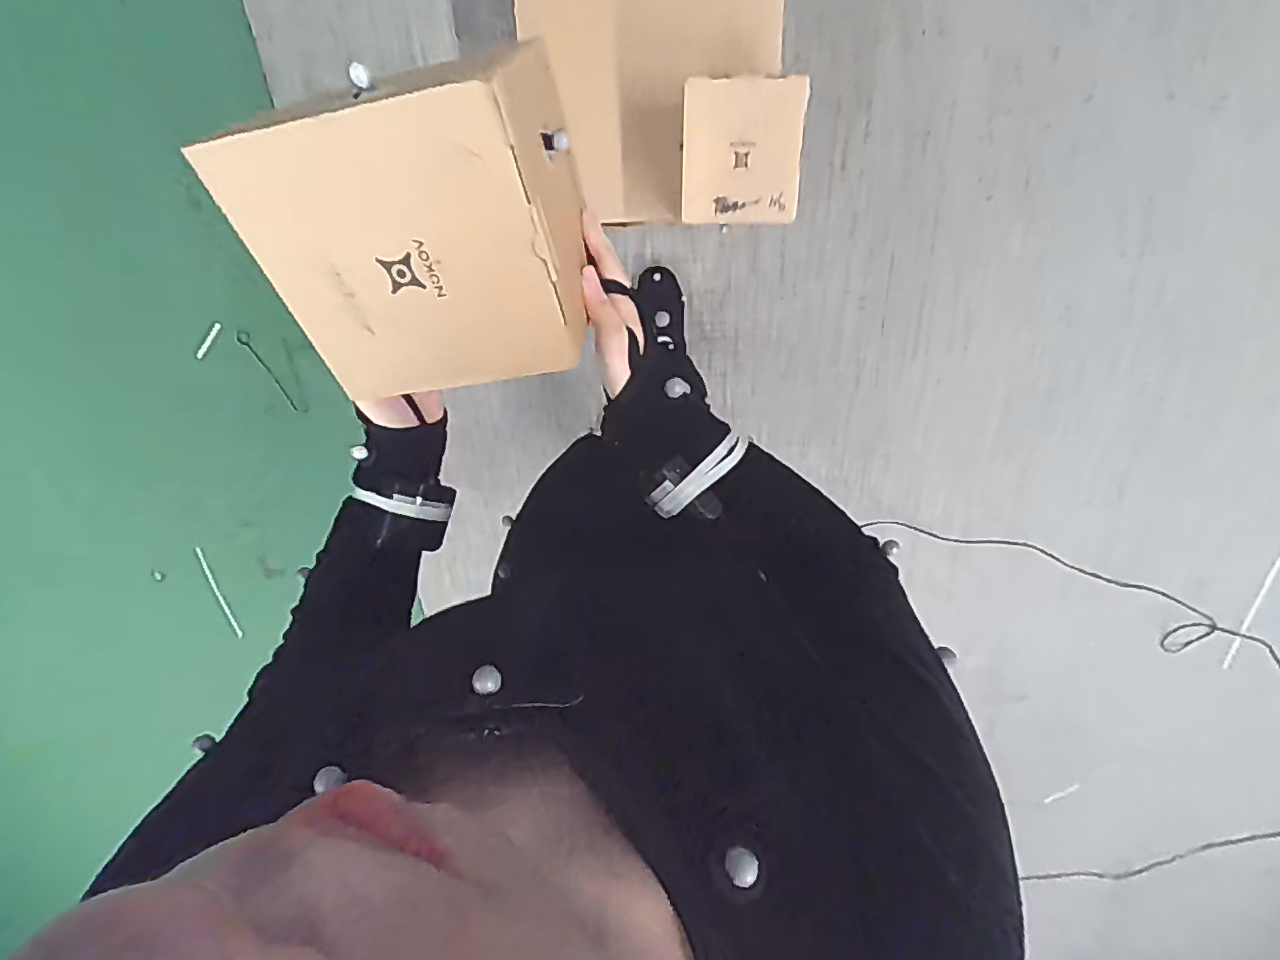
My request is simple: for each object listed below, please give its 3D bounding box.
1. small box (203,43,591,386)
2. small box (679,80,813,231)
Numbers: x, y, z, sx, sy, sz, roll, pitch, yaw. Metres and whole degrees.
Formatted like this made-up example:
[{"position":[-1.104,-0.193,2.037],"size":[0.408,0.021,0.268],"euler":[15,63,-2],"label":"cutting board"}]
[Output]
[{"position":[-0.136,-0.191,0.389],"size":[0.179,0.176,0.168],"euler":[-5,132,8],"label":"small box"},{"position":[0.146,-0.475,0.813],"size":[0.168,0.176,0.179],"euler":[2,115,2],"label":"small box"}]
